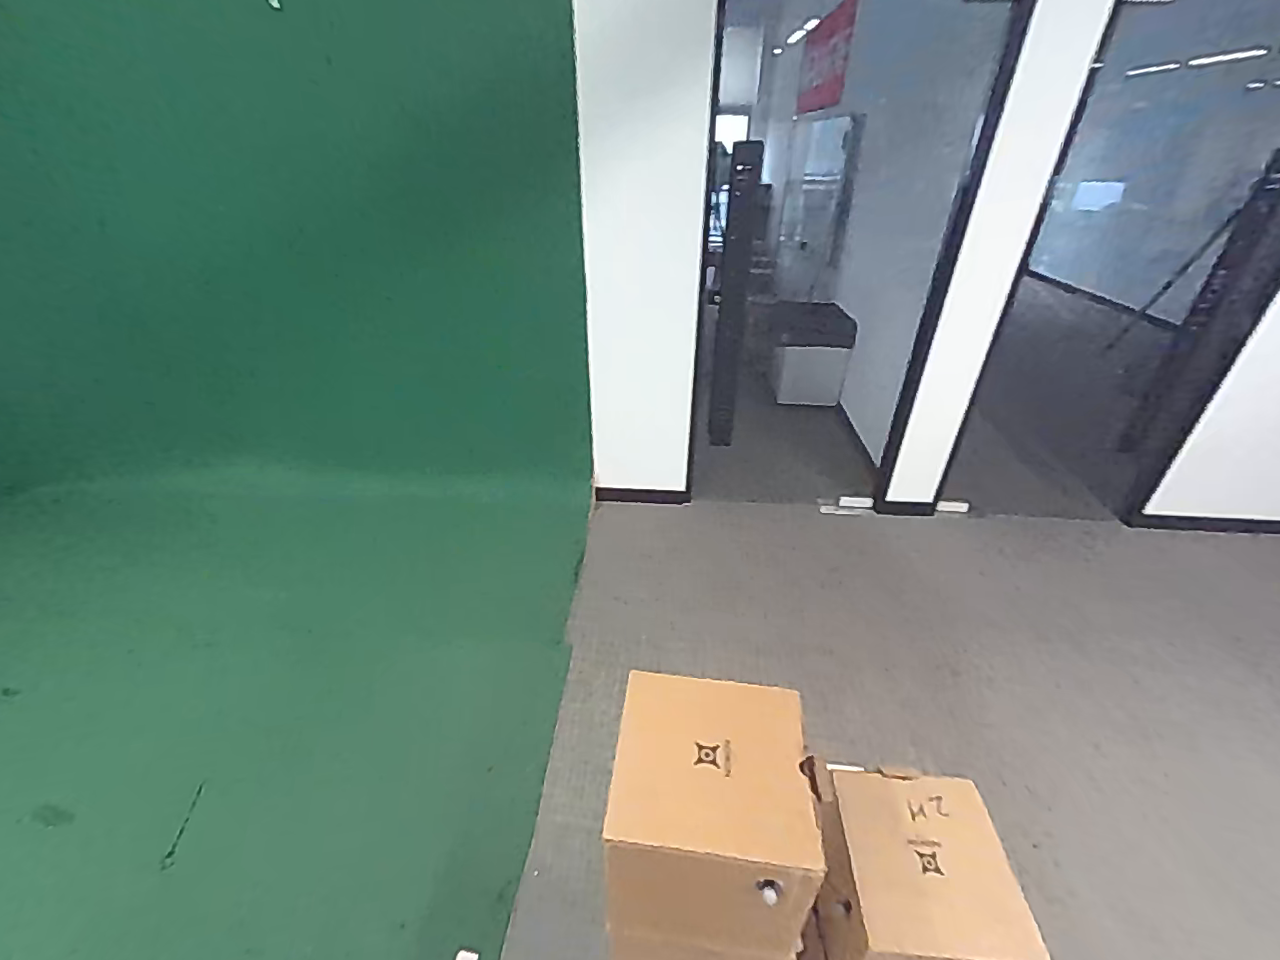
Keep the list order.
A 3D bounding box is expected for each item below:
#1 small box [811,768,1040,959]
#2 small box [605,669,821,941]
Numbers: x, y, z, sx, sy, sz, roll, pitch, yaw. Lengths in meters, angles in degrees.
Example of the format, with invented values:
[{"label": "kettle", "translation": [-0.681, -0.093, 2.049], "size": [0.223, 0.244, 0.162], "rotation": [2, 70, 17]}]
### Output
[{"label": "small box", "translation": [0.299, 0.465, 0.617], "size": [0.168, 0.176, 0.179], "rotation": [3, 32, 3]}, {"label": "small box", "translation": [0.064, 0.317, 0.537], "size": [0.179, 0.176, 0.168], "rotation": [6, 32, 4]}]
